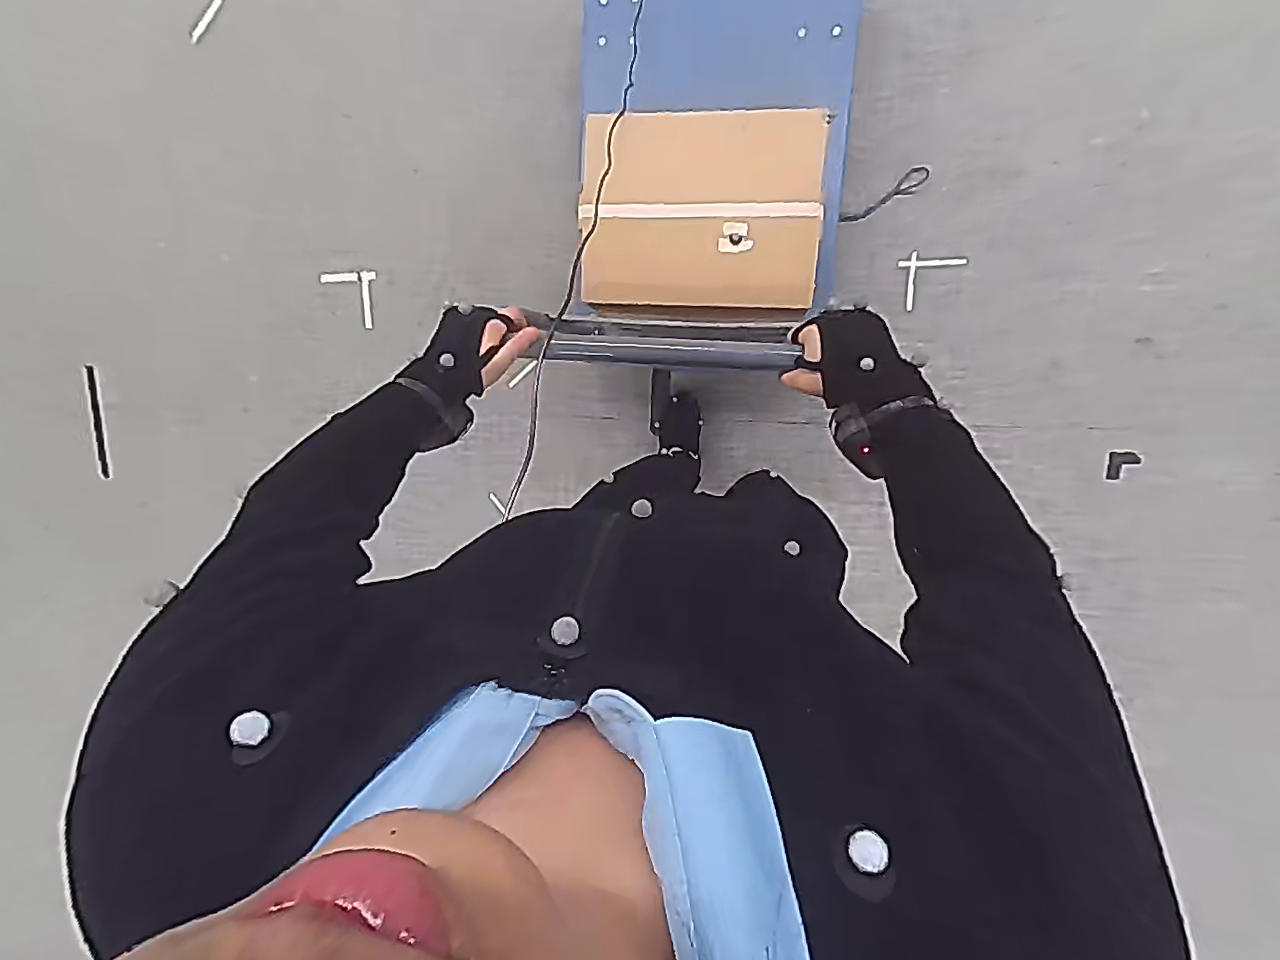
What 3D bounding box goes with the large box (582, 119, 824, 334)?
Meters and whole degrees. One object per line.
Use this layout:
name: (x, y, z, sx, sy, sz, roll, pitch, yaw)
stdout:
large box: (0.115, -0.465, 1.066, 0.408, 0.320, 0.320, 4, 100, 7)
